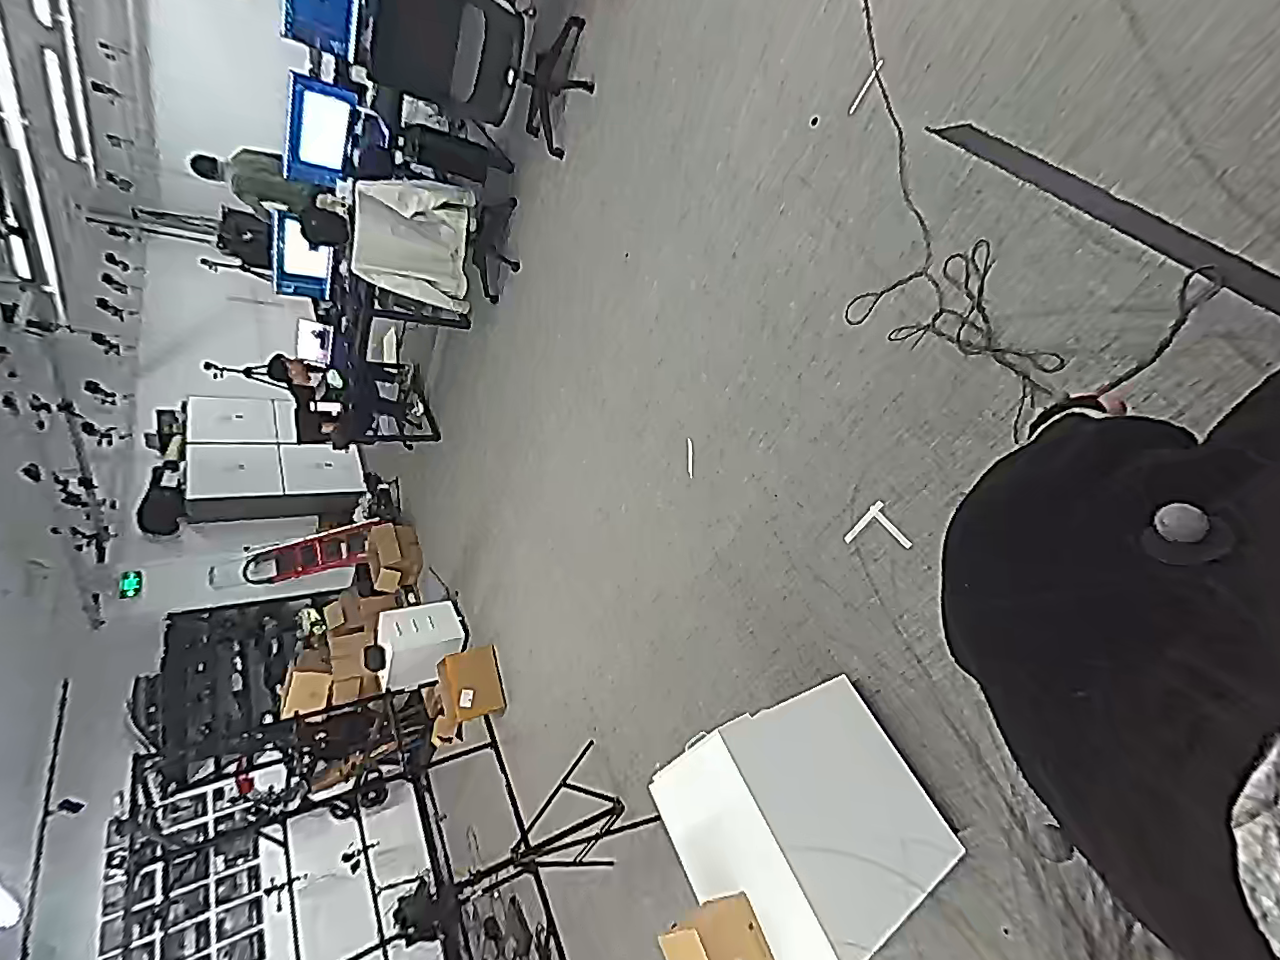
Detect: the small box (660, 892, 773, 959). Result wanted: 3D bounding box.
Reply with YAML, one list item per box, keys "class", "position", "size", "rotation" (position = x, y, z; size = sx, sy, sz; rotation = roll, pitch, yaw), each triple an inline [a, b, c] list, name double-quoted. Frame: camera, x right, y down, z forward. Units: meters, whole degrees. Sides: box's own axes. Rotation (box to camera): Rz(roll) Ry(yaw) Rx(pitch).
- class: "small box"
  position: [0.182, 1.086, 1.244]
  size: [0.179, 0.176, 0.168]
  rotation: [-55, 51, 39]
